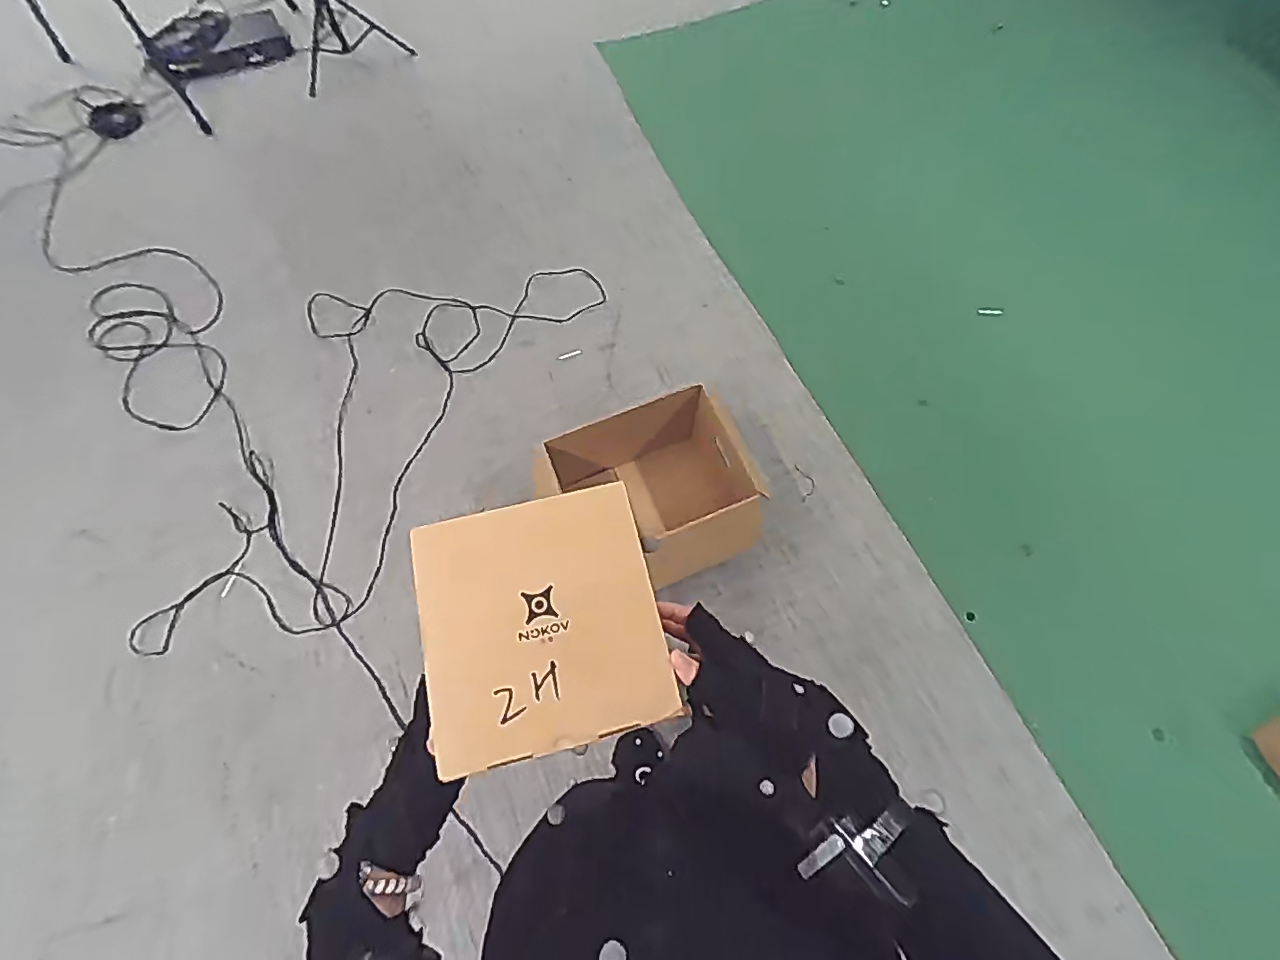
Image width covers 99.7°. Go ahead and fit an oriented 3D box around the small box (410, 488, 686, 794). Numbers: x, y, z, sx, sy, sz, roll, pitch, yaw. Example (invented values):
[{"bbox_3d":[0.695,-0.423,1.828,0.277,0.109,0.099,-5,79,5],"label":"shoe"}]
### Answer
[{"bbox_3d":[-0.072,0.128,0.446,0.168,0.176,0.179,-13,71,-7],"label":"small box"}]
